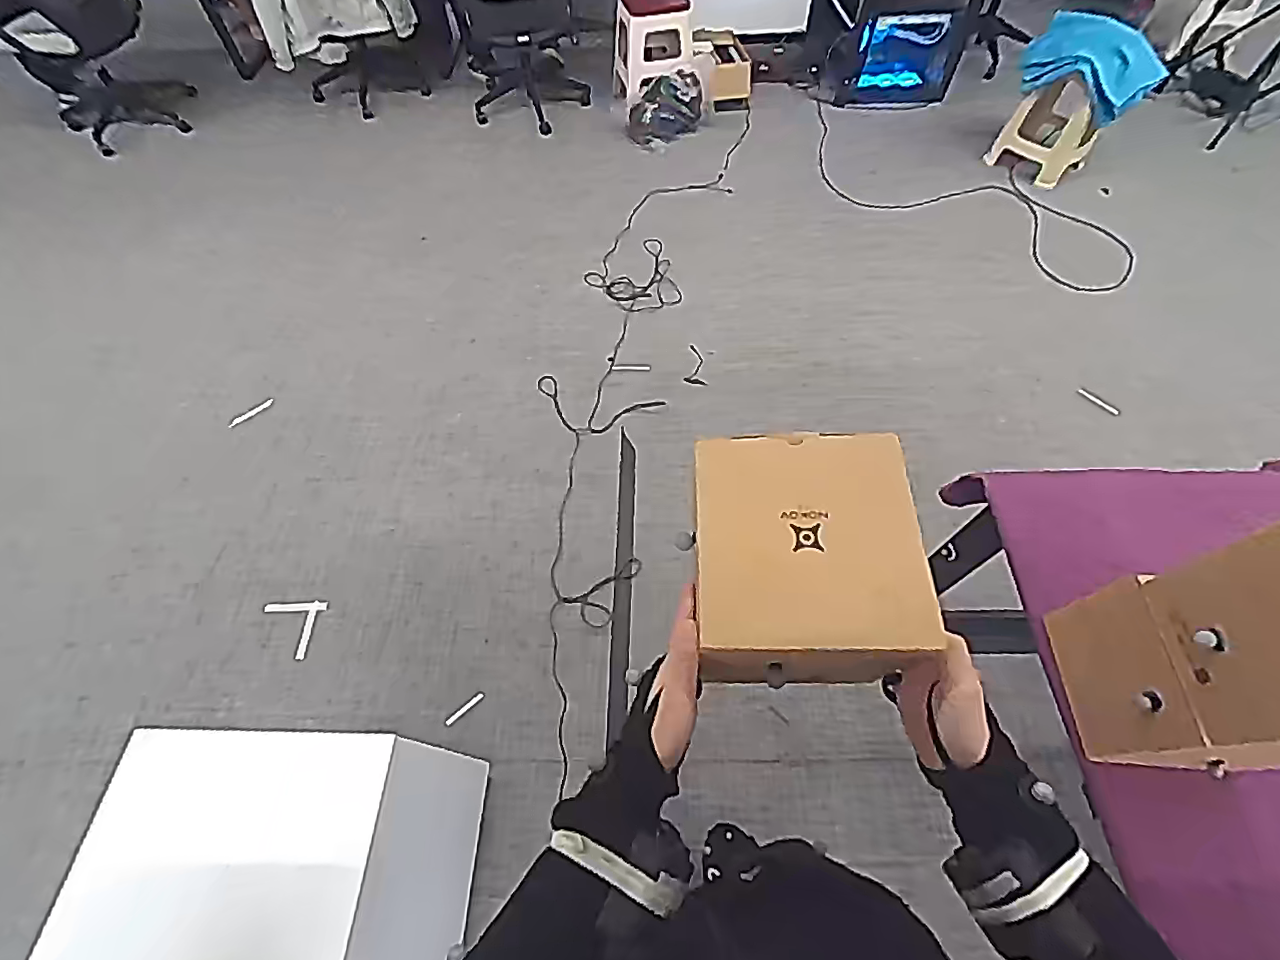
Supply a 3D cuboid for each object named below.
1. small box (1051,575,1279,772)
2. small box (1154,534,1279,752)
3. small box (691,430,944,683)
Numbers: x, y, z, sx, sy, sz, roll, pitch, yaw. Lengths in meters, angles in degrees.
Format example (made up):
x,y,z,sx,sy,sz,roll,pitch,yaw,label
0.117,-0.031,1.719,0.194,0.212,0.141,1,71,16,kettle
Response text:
x,y,z,sx,sy,sz,roll,pitch,yaw,label
0.619,0.224,0.612,0.168,0.176,0.179,4,59,3,small box
0.626,0.142,0.469,0.179,0.176,0.168,2,59,3,small box
0.130,0.076,0.471,0.168,0.176,0.179,-2,61,5,small box
